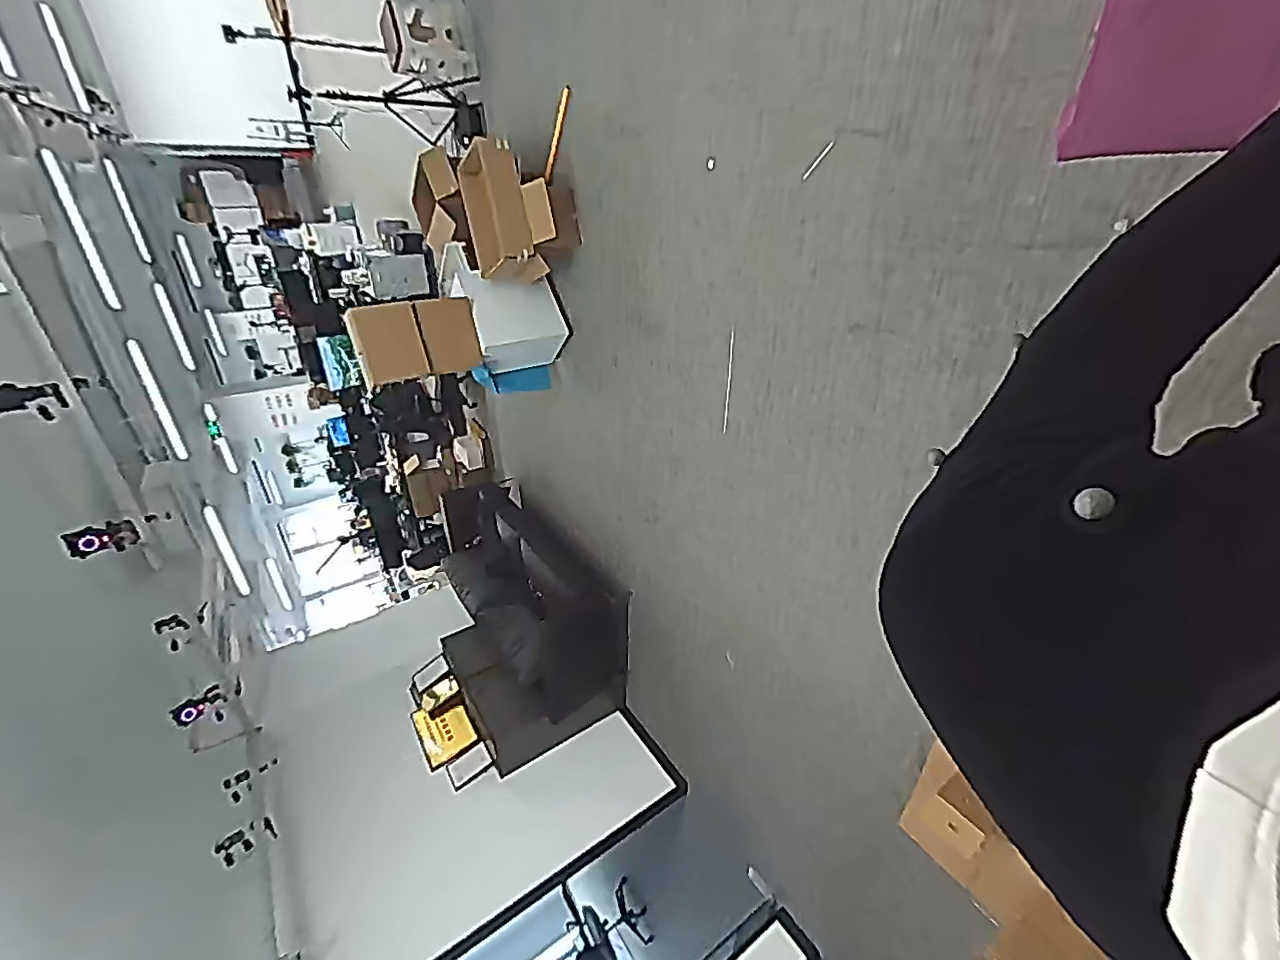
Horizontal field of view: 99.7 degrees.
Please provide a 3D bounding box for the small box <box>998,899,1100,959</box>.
[{"bbox_3d":[1.310,1.493,1.734,0.179,0.176,0.168,44,140,39],"label":"small box"}]

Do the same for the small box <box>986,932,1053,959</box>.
[{"bbox_3d":[1.173,1.531,1.649,0.179,0.176,0.168,43,139,39],"label":"small box"}]

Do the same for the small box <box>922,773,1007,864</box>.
[{"bbox_3d":[1.121,1.161,1.867,0.179,0.176,0.168,36,134,44],"label":"small box"}]
